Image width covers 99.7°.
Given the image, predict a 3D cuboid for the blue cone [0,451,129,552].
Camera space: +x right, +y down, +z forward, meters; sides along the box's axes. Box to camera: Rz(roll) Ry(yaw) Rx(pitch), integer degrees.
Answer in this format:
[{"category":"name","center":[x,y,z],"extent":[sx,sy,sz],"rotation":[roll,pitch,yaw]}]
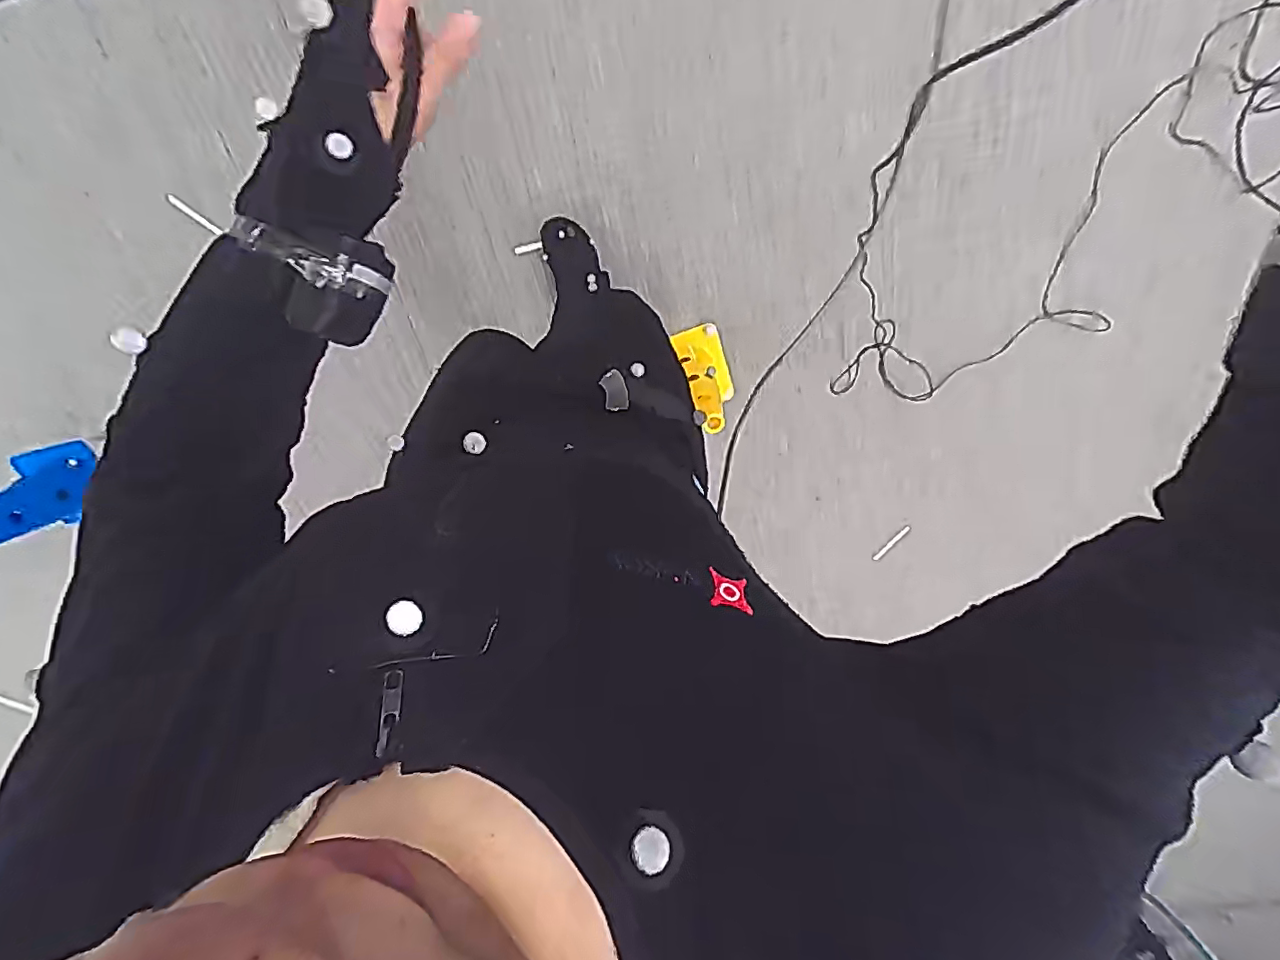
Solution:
[{"category":"blue cone","center":[-1.392,0.097,1.196],"extent":[0.193,0.380,0.192],"rotation":[-12,117,2]}]
